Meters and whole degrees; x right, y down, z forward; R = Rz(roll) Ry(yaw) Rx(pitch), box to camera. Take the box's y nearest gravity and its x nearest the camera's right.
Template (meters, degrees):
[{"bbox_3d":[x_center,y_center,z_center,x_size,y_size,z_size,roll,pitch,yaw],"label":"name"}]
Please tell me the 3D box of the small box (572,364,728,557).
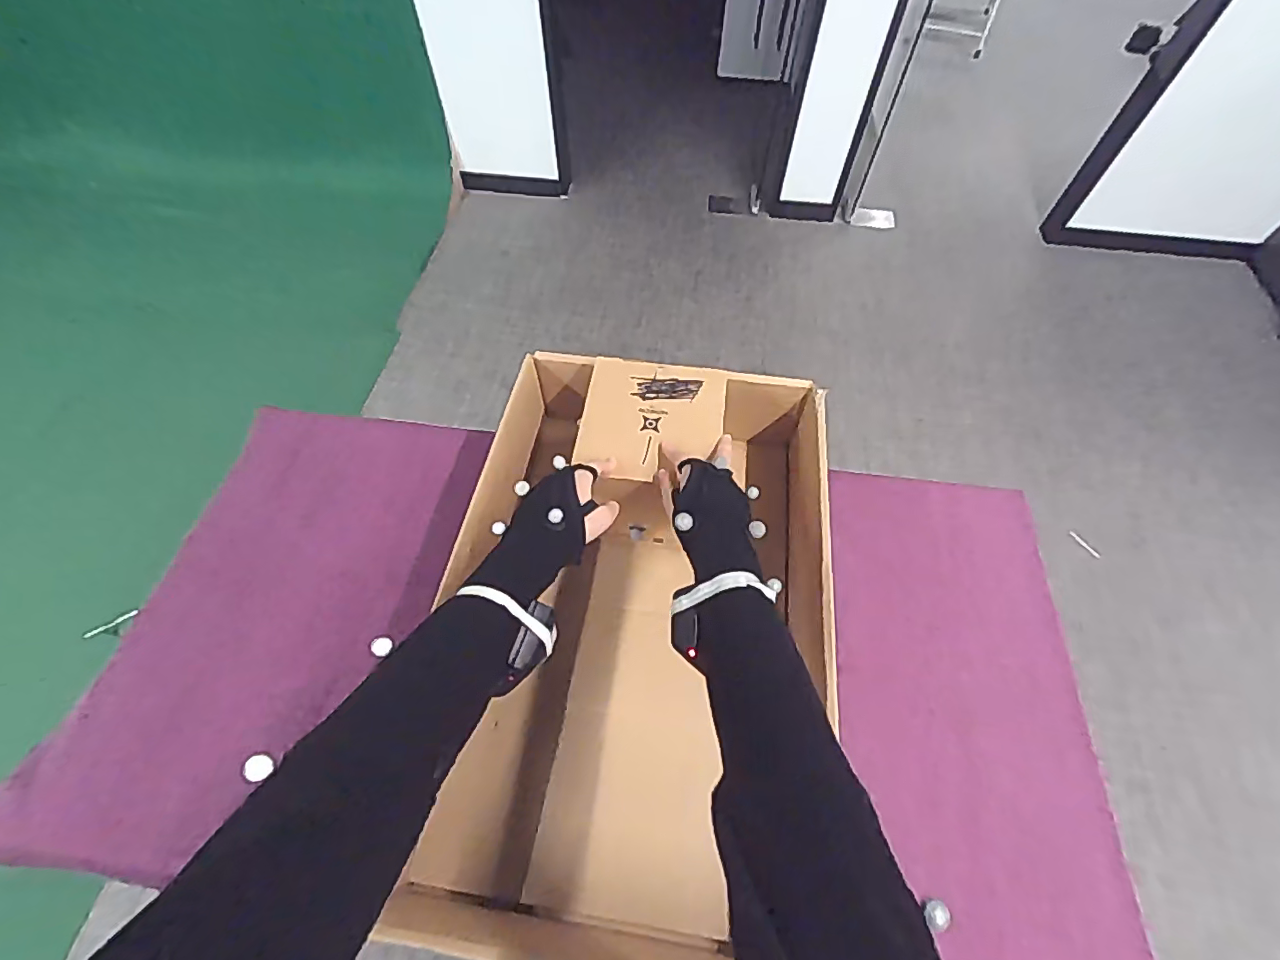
[{"bbox_3d":[0.016,-0.021,0.698,0.168,0.176,0.179,7,60,4],"label":"small box"}]
